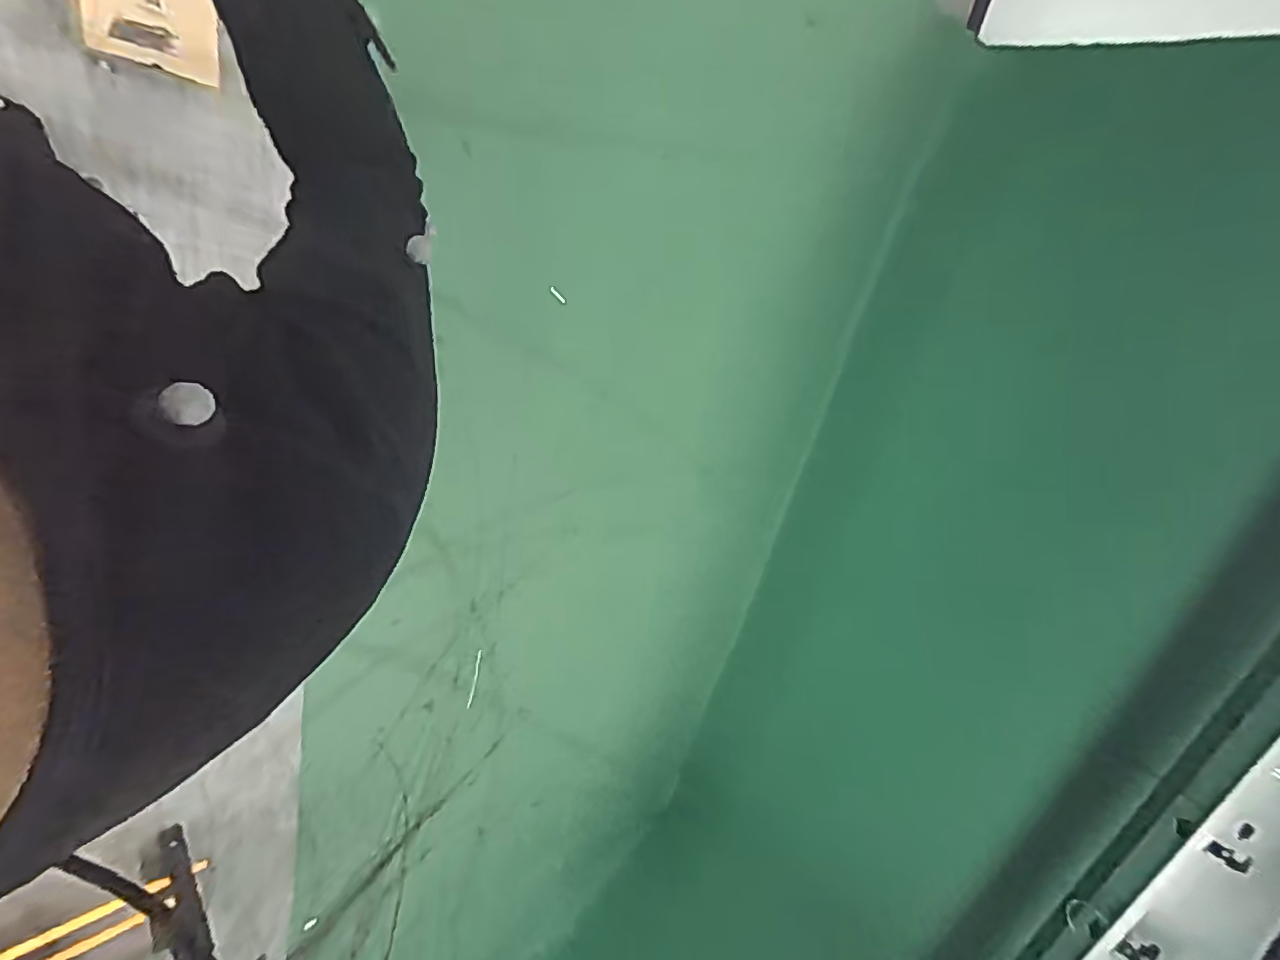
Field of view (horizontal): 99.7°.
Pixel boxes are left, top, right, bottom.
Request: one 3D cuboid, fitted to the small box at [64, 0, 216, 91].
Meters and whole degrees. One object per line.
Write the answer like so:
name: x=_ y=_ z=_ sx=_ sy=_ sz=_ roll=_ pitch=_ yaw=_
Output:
small box: x=-0.815 y=-0.767 z=0.882 sx=0.168 sy=0.176 sz=0.179 roll=-10 pitch=121 yaw=-47
